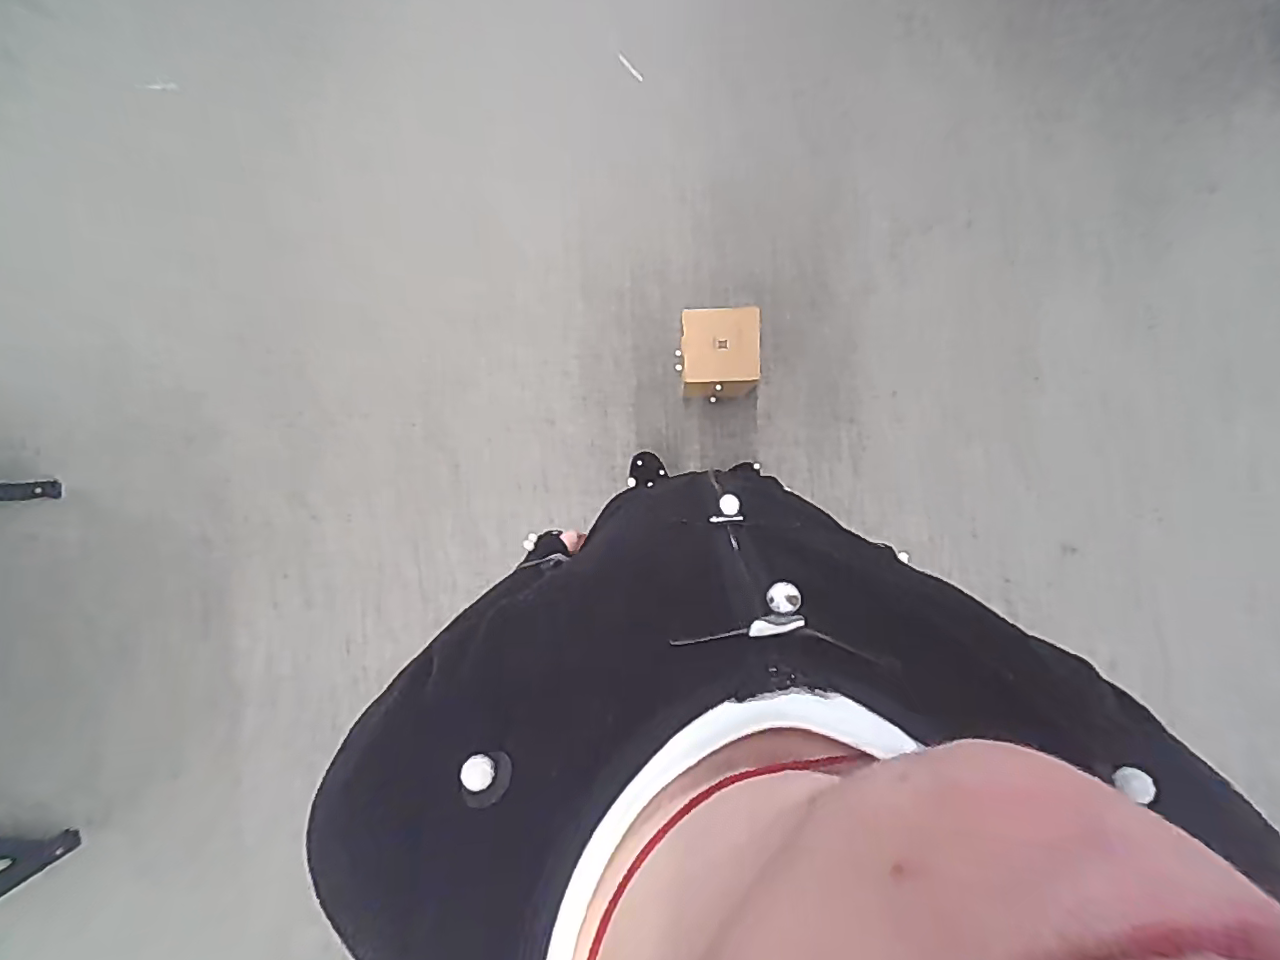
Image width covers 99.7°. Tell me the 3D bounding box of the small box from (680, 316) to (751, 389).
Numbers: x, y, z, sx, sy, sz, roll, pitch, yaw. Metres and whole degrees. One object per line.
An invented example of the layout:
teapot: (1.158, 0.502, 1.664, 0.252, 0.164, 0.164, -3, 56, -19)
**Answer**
small box: (0.199, -0.341, 1.462, 0.179, 0.176, 0.168, 0, 93, 3)
